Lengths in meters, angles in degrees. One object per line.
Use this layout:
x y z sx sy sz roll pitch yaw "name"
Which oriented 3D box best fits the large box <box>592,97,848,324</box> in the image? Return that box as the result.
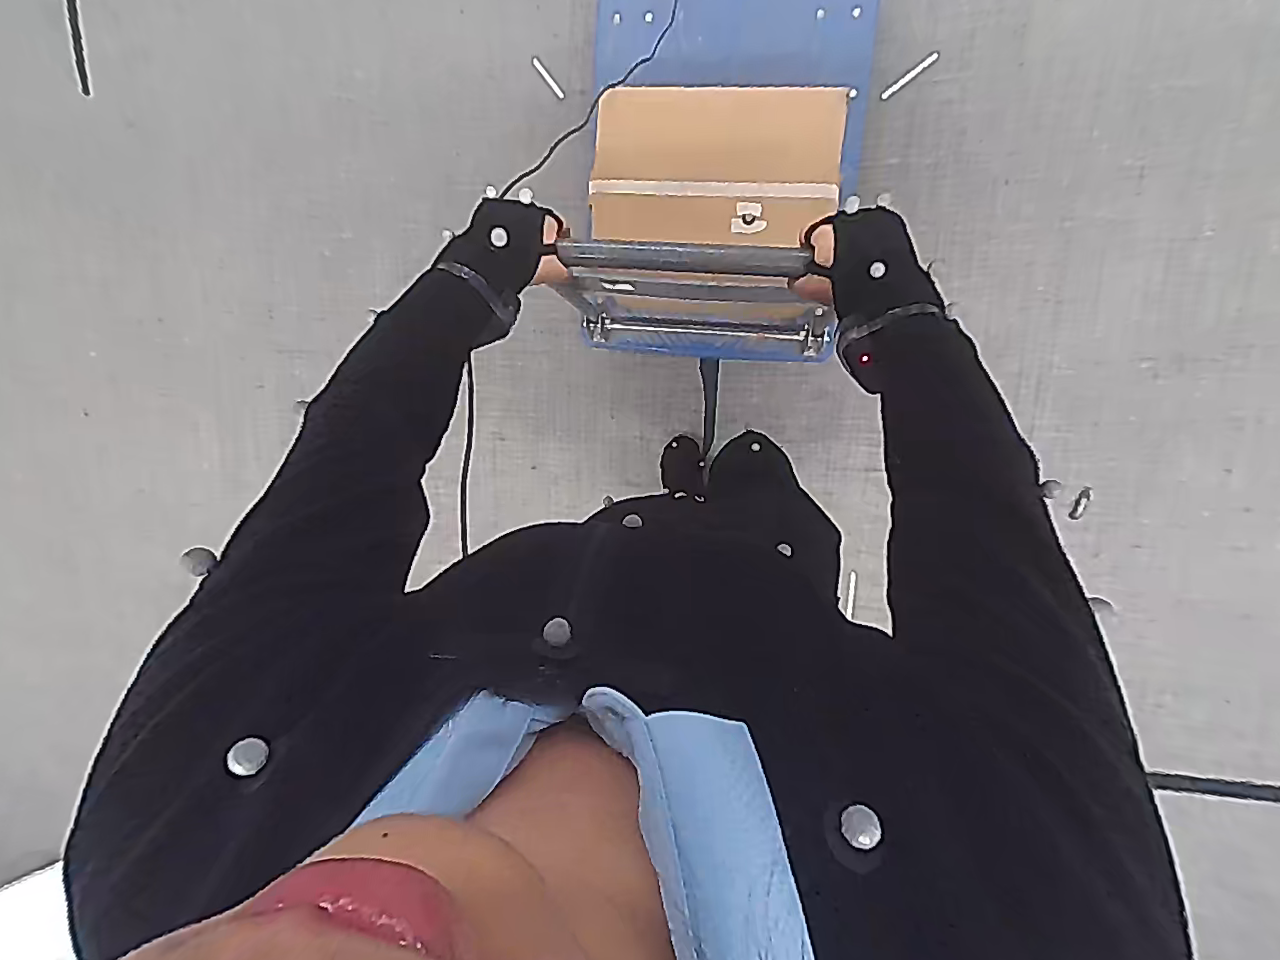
0.139 -0.486 1.039 0.408 0.320 0.320 6 100 7 "large box"
